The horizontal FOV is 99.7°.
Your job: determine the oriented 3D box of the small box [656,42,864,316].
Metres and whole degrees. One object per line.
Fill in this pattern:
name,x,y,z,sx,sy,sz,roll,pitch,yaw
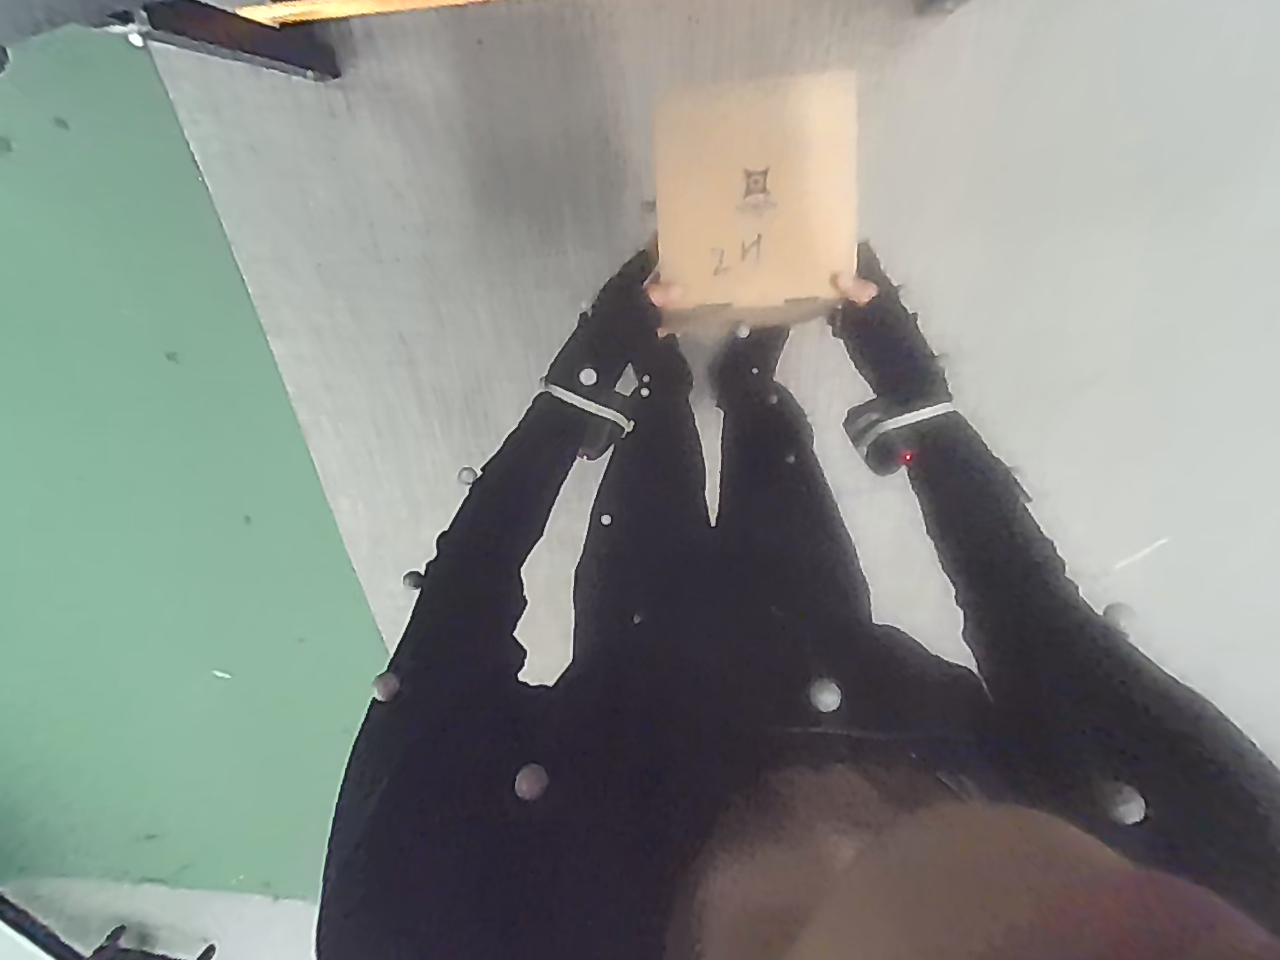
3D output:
small box,0.101,-0.262,0.514,0.168,0.176,0.179,-2,99,5
